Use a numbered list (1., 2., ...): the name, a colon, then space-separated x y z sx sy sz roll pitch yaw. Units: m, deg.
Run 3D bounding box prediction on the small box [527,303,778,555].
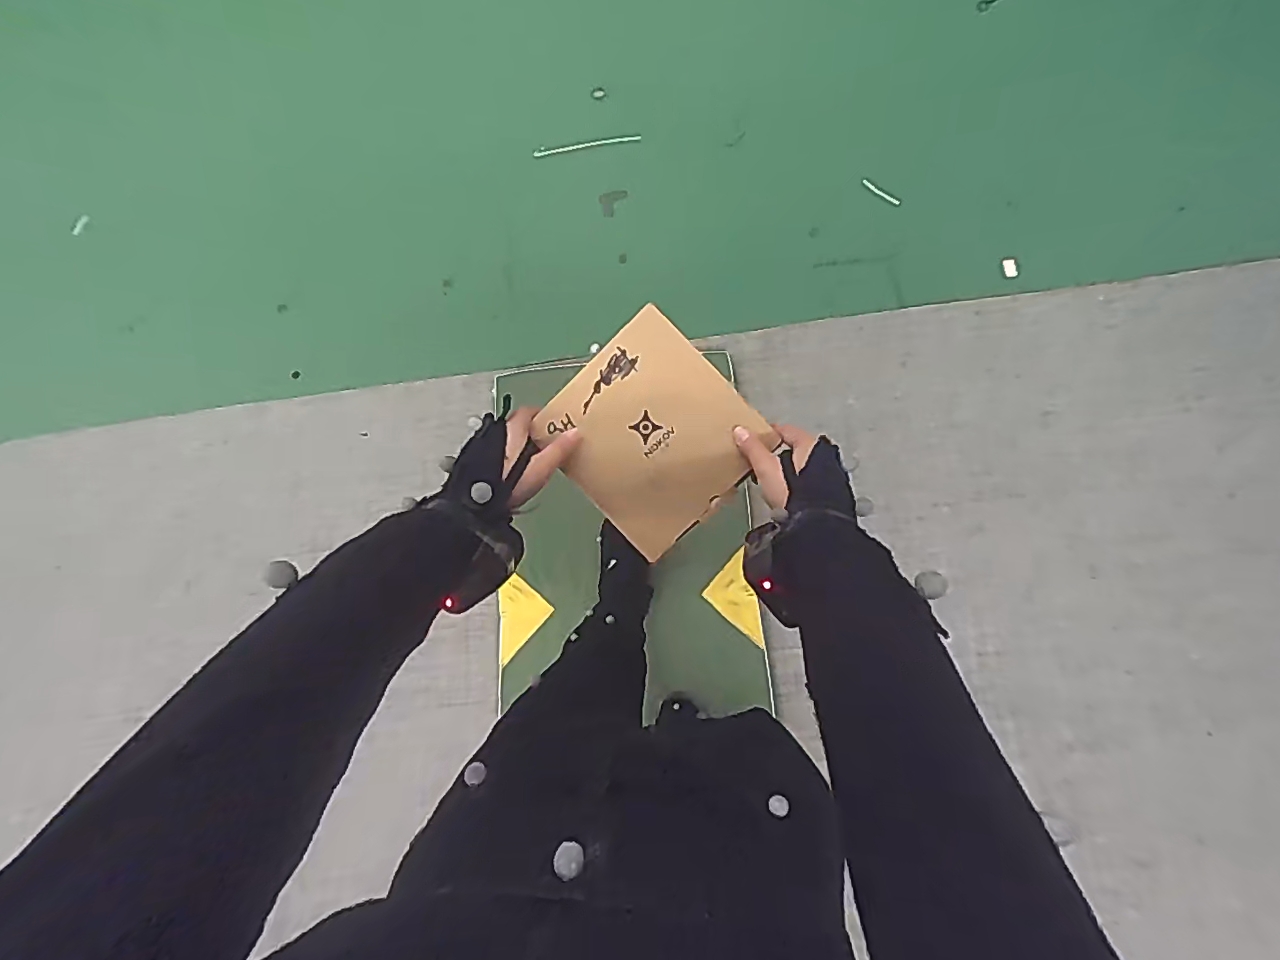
1. small box: 0.015 -0.052 0.574 0.168 0.176 0.179 -43 90 5
